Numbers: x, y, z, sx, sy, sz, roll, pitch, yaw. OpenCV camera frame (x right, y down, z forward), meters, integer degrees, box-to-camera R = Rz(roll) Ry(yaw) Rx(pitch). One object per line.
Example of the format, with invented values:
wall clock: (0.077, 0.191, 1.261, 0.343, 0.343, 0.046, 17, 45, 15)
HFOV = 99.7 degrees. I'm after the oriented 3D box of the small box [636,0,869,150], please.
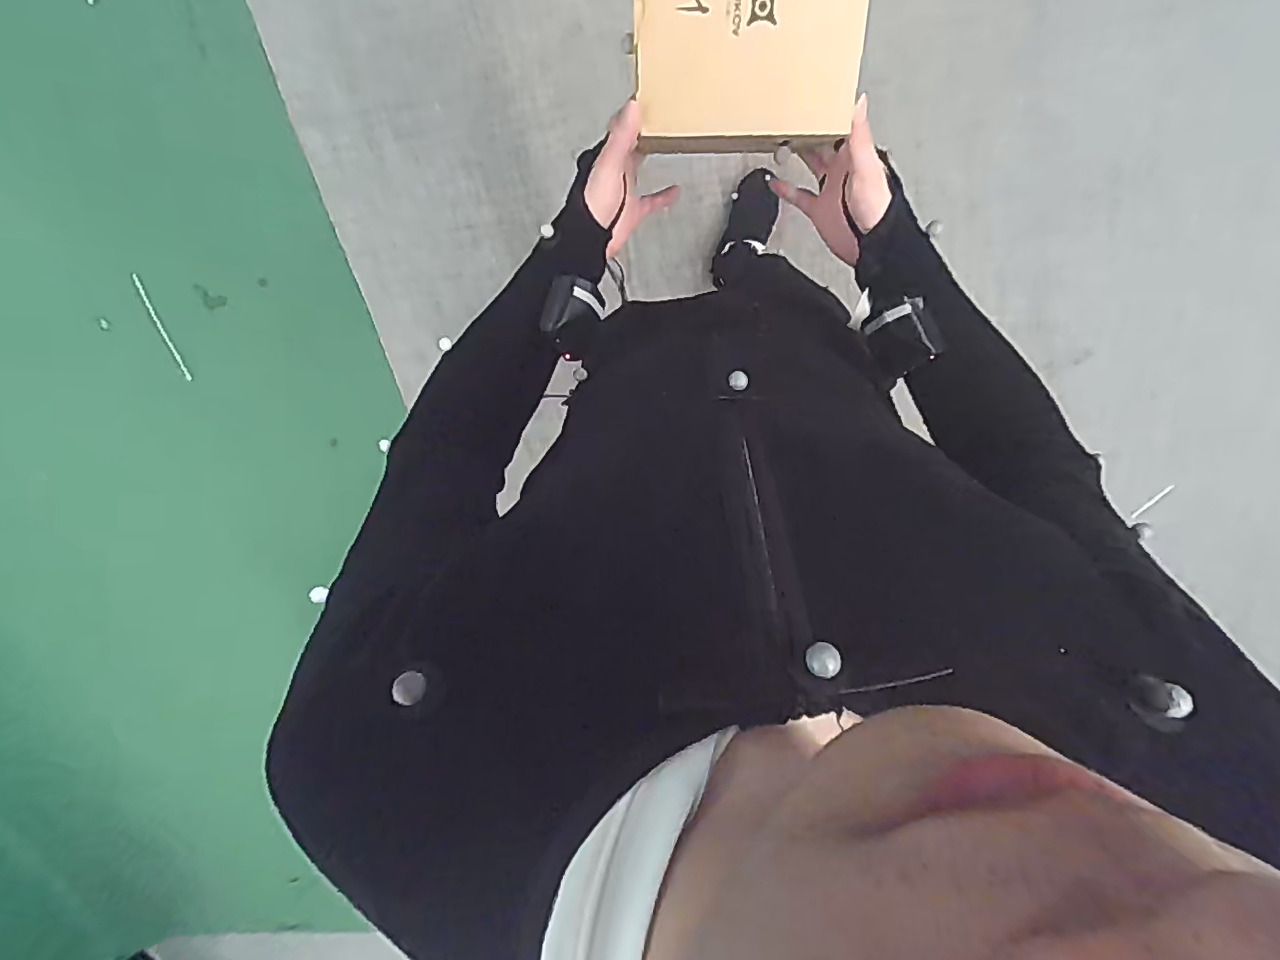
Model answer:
small box: (0.087, -0.393, 0.474, 0.179, 0.176, 0.168, 1, 117, 3)
